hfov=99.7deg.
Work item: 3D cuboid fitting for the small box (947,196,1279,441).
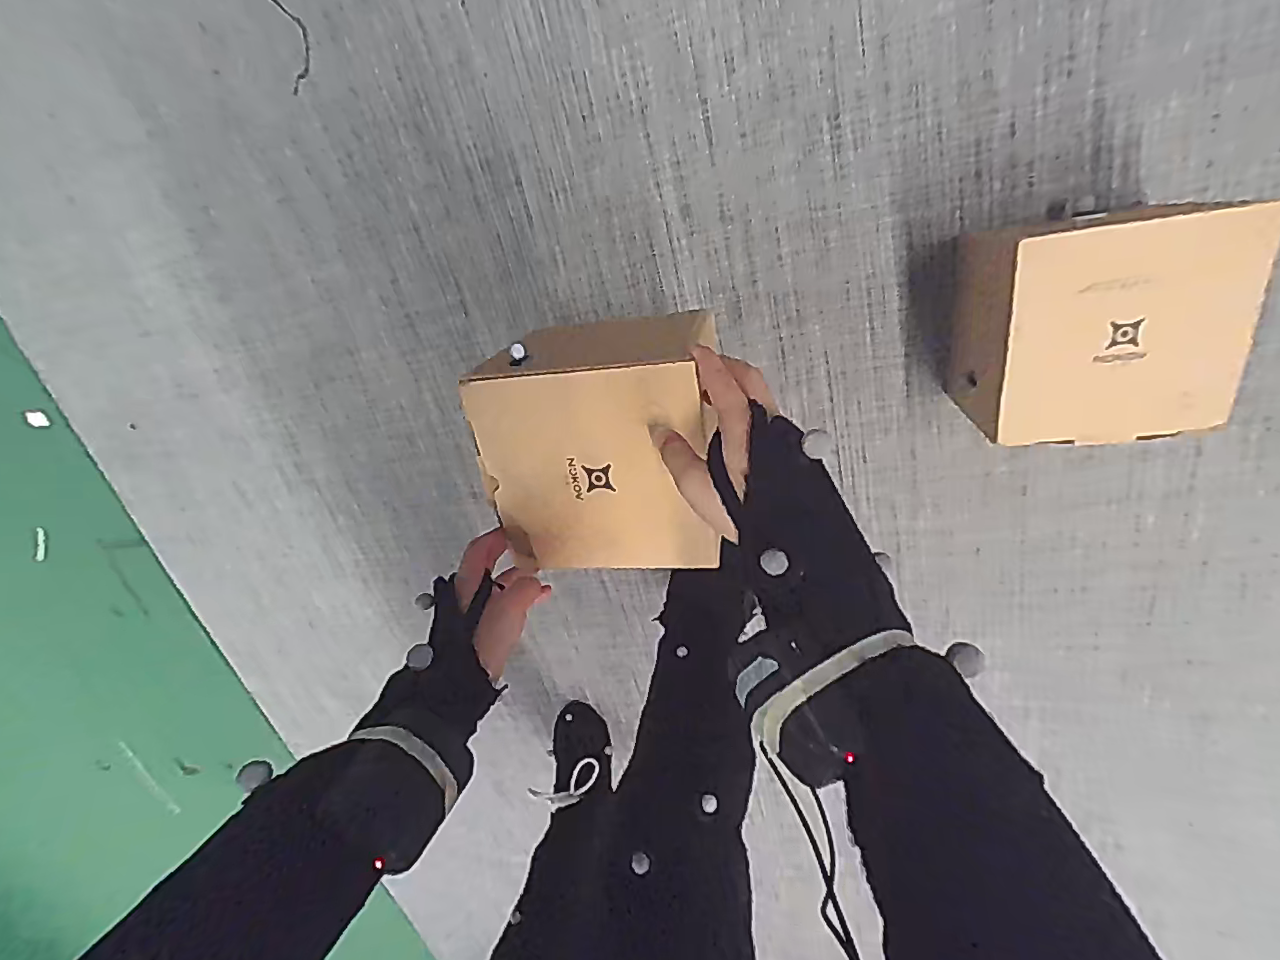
[{"bbox_3d":[0.399,-0.150,0.499,0.168,0.176,0.179,-4,113,15],"label":"small box"}]

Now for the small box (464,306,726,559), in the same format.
[{"bbox_3d":[-0.017,-0.047,0.471,0.179,0.176,0.168,-2,117,14],"label":"small box"}]
